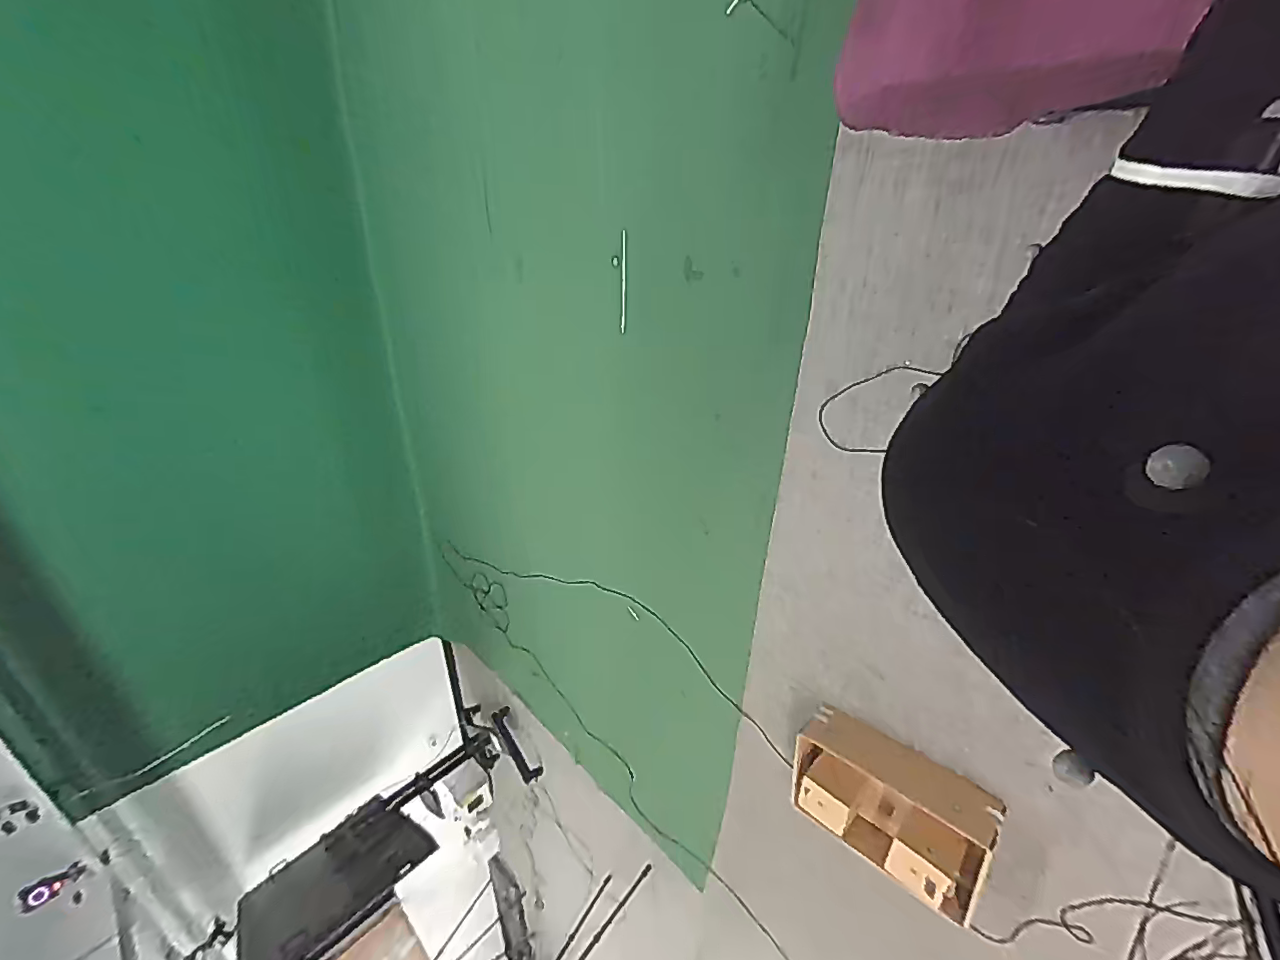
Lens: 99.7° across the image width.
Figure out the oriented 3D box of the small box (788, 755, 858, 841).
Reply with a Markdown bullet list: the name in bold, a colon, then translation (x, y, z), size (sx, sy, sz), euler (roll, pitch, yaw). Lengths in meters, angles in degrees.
- **small box**: translation (0.663, 1.141, 1.956), size (0.179, 0.176, 0.168), euler (24, 123, 37)
